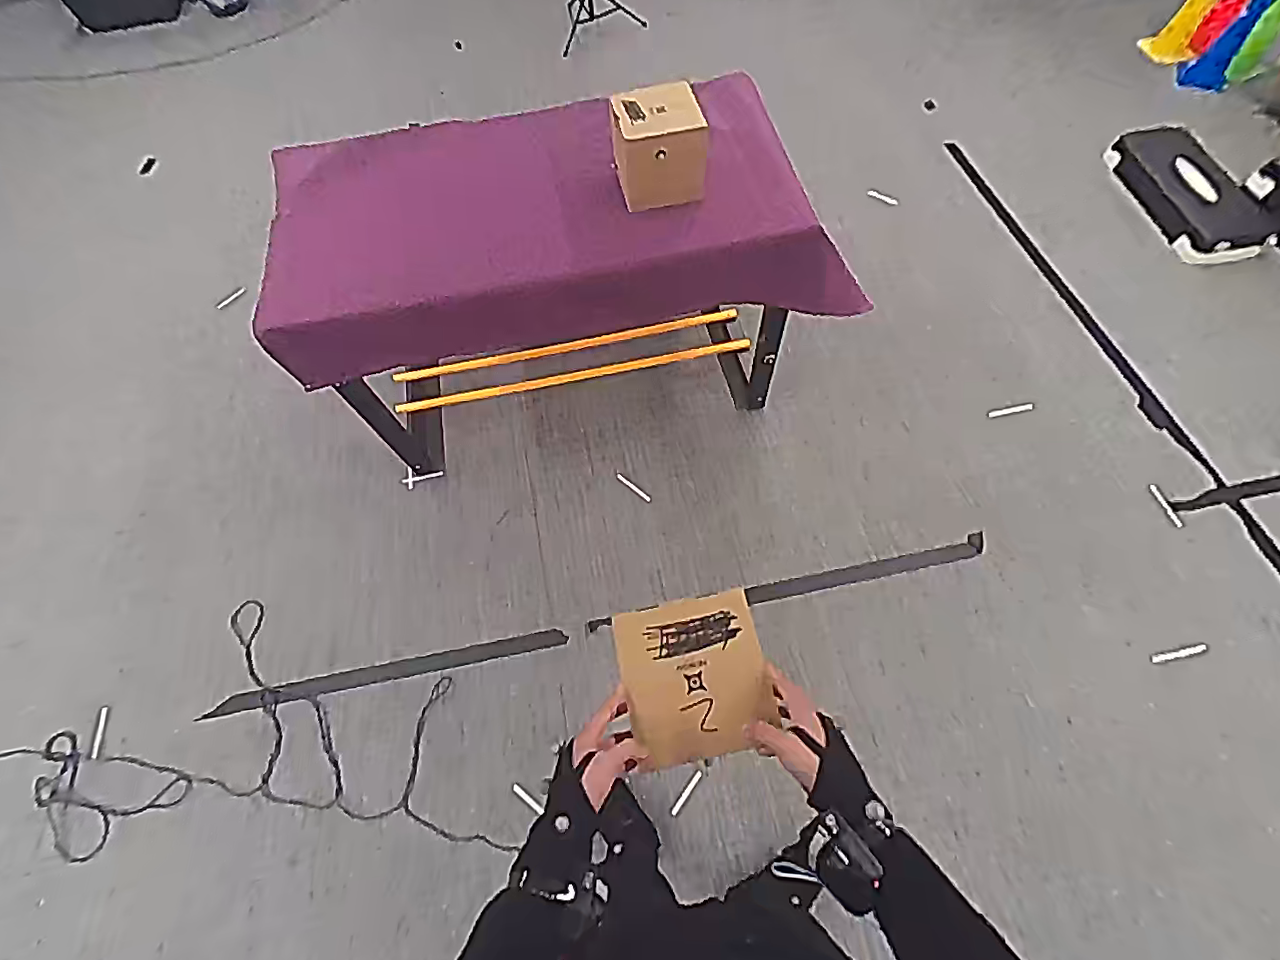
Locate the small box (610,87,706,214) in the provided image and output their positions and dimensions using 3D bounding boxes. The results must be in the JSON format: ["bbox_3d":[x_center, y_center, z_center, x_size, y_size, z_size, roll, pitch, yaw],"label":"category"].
[{"bbox_3d":[0.040,-0.717,1.190,0.179,0.176,0.168,-12,64,-3],"label":"small box"}]
